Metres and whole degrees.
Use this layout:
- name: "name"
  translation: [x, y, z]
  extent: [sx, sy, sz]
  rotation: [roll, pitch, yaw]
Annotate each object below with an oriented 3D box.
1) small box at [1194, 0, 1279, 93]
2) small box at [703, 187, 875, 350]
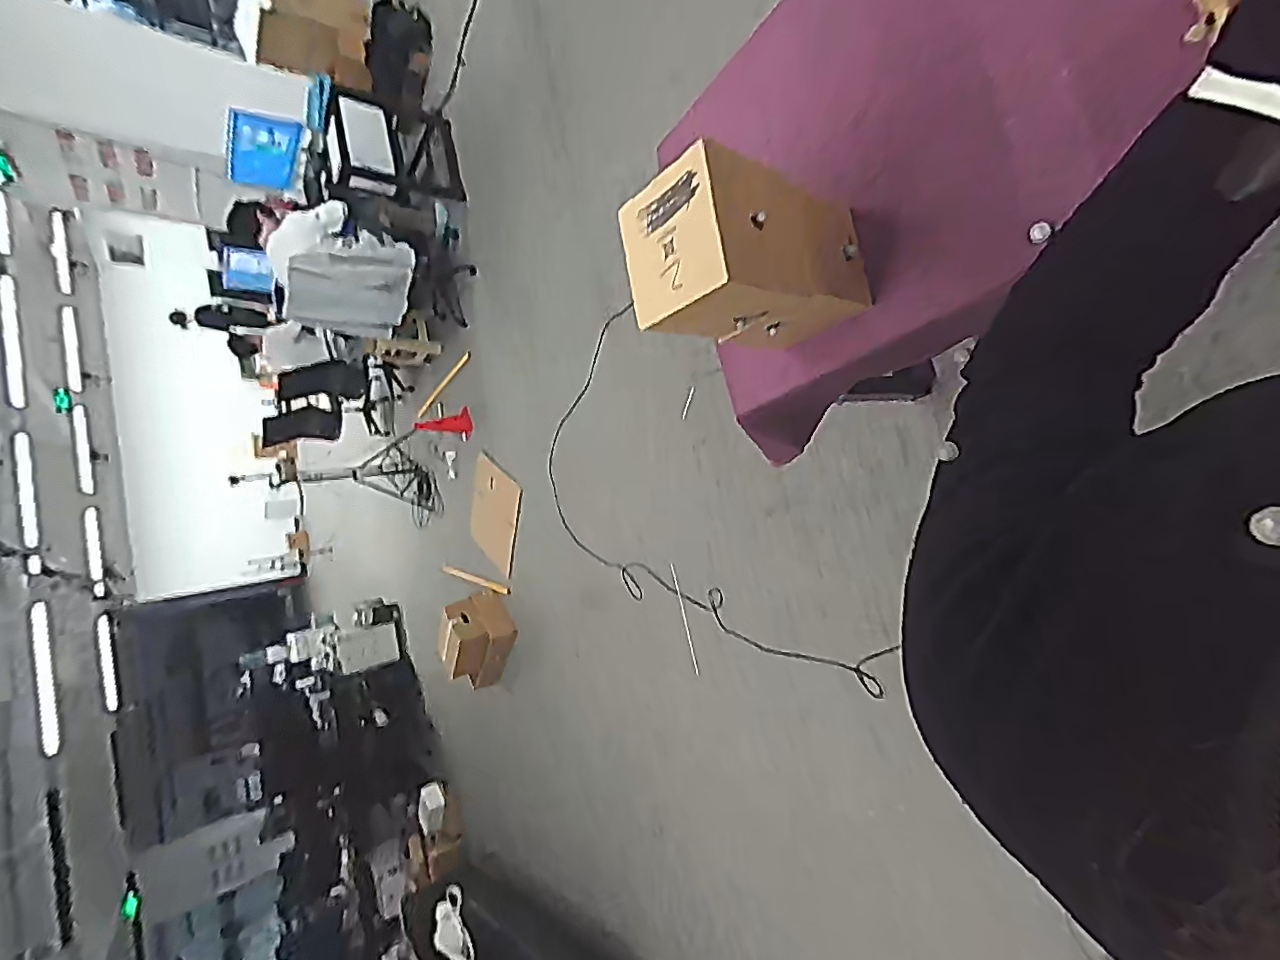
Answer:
- name: "small box"
  translation: [0.556, -0.450, 0.425]
  extent: [0.168, 0.176, 0.179]
  rotation: [-23, 78, 50]
- name: "small box"
  translation: [0.230, -0.312, 0.843]
  extent: [0.179, 0.176, 0.168]
  rotation: [-19, 81, 49]
